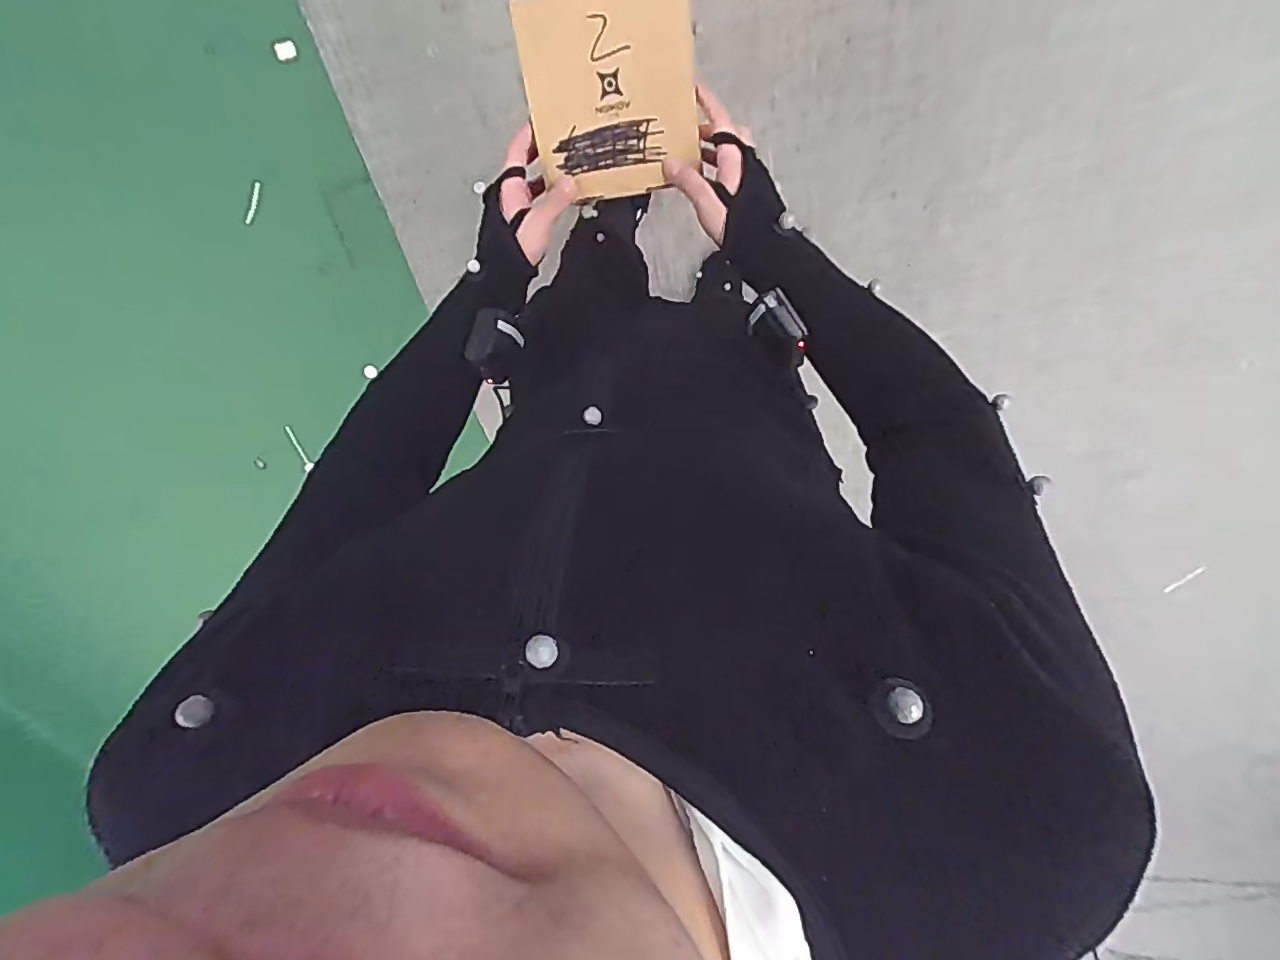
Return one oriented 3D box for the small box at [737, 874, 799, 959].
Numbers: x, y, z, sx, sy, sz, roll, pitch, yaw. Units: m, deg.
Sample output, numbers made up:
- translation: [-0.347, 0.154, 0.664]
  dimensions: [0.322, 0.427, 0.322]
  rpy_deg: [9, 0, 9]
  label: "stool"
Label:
- translation: [0.406, 1.385, 1.719]
  dimensions: [0.168, 0.176, 0.179]
  rpy_deg: [-9, 121, 10]
  label: "small box"
